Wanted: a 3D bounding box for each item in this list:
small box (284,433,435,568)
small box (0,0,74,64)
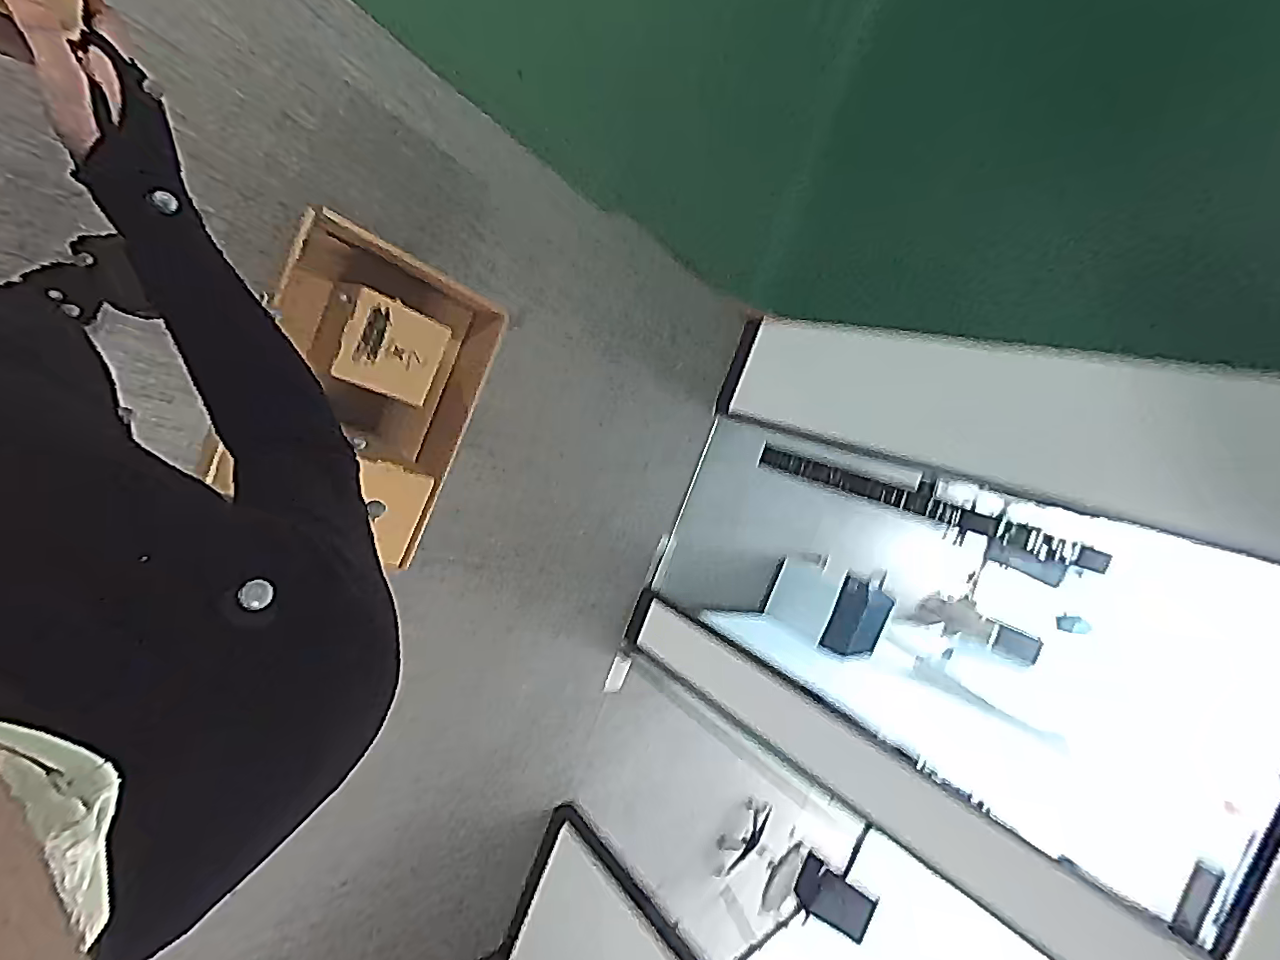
[{"bbox_3d":[-0.502,0.033,0.960,0.168,0.176,0.179,23,92,-46],"label":"small box"},{"bbox_3d":[-0.491,-0.413,0.346,0.168,0.176,0.179,-1,110,-52],"label":"small box"}]
